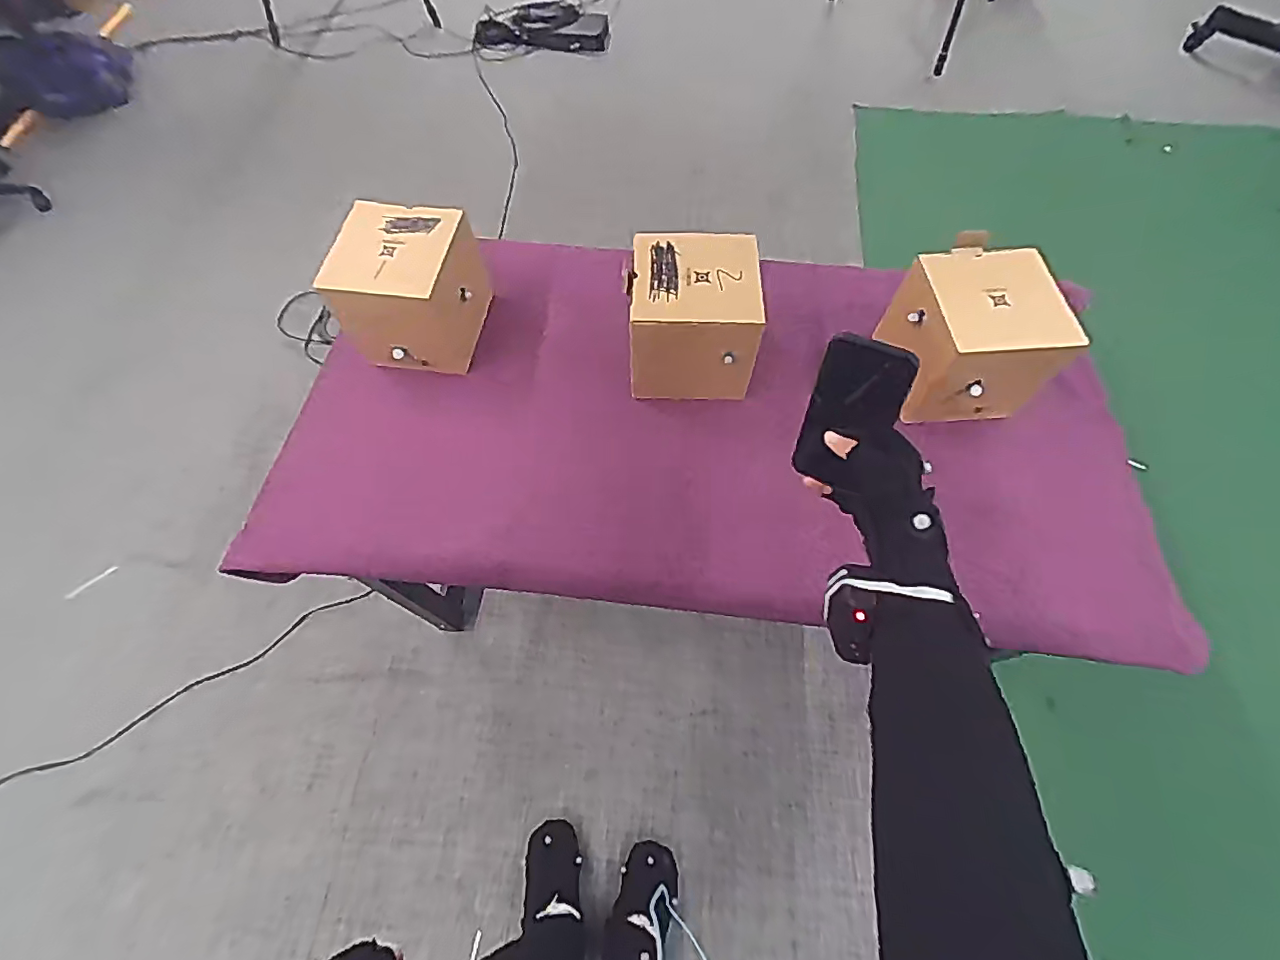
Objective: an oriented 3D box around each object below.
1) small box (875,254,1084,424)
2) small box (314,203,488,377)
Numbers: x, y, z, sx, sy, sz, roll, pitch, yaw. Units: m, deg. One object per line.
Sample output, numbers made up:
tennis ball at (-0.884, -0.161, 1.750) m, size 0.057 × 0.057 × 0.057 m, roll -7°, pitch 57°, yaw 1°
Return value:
small box at (0.464, -0.191, 0.773) m, size 0.168 × 0.176 × 0.179 m, roll -4°, pitch 62°, yaw -1°
small box at (-0.344, -0.284, 0.823) m, size 0.168 × 0.176 × 0.179 m, roll 7°, pitch 65°, yaw 4°
